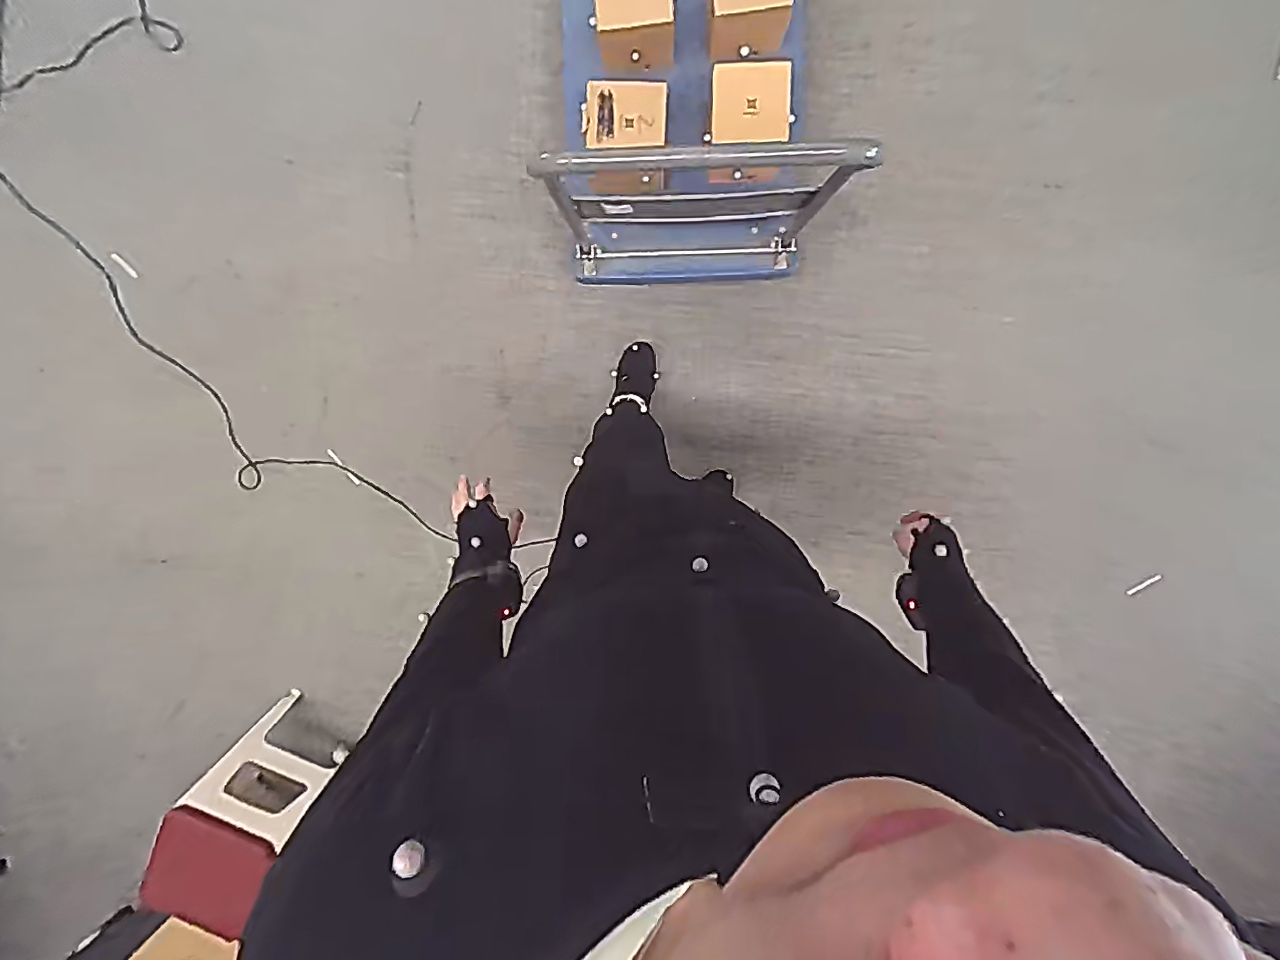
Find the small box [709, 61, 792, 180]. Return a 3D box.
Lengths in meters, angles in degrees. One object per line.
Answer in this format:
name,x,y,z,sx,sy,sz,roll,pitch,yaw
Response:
small box,0.249,-0.823,1.251,0.168,0.176,0.179,0,98,3

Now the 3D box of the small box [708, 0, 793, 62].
small box,0.242,-1.091,1.215,0.168,0.176,0.179,-4,98,5

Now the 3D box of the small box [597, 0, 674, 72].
small box,-0.008,-1.071,1.234,0.168,0.176,0.179,-4,97,3
